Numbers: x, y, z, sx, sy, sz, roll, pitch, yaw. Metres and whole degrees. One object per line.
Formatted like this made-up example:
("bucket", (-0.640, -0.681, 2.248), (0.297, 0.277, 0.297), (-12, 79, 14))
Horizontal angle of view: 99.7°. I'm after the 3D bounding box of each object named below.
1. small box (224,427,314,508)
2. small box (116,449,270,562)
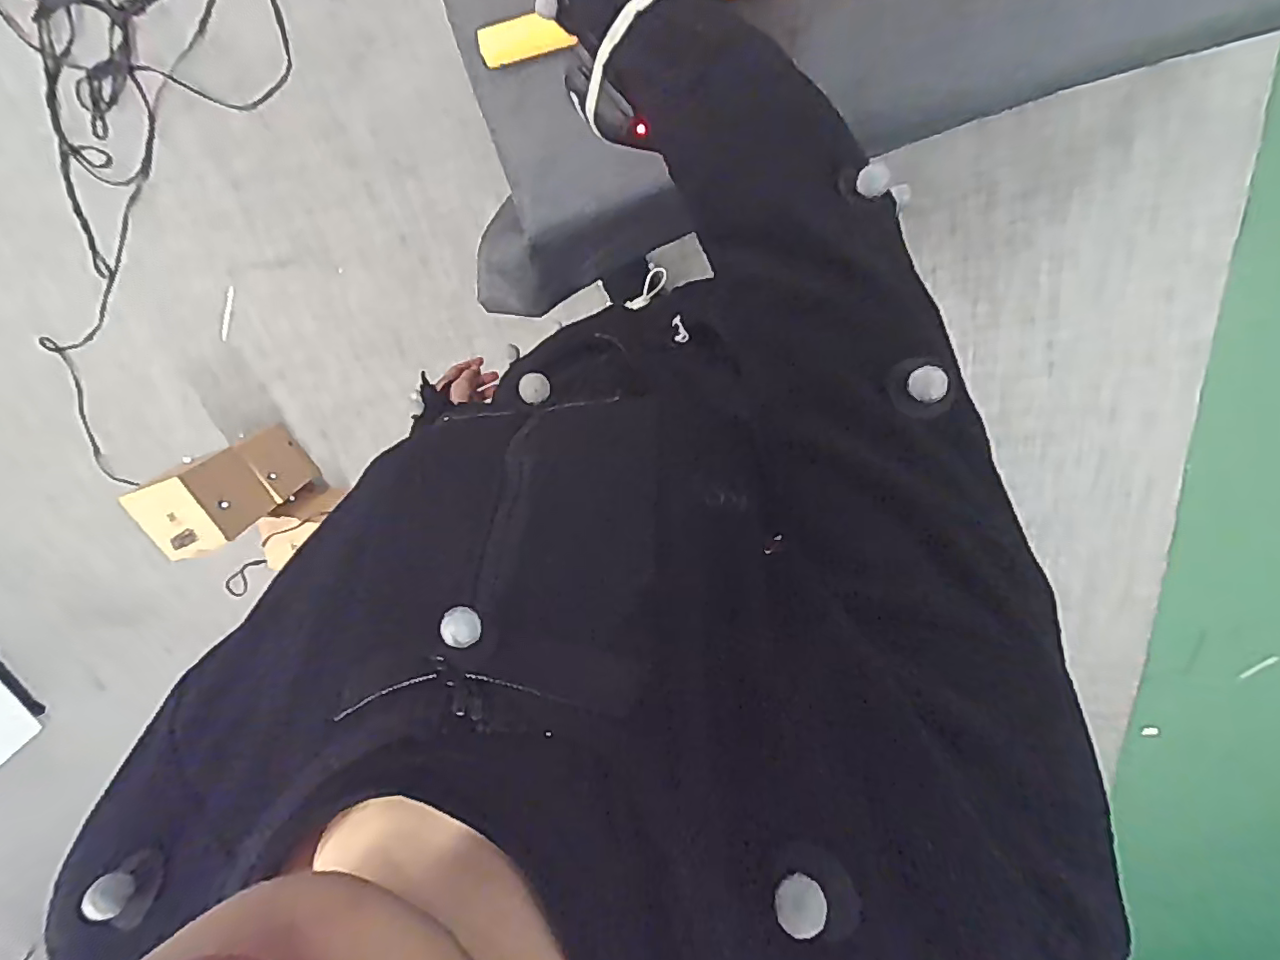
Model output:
("small box", (-0.992, -0.014, 1.387), (0.179, 0.176, 0.168), (-21, 114, 13))
("small box", (-1.006, 0.055, 1.238), (0.168, 0.176, 0.179), (-17, 115, 10))
